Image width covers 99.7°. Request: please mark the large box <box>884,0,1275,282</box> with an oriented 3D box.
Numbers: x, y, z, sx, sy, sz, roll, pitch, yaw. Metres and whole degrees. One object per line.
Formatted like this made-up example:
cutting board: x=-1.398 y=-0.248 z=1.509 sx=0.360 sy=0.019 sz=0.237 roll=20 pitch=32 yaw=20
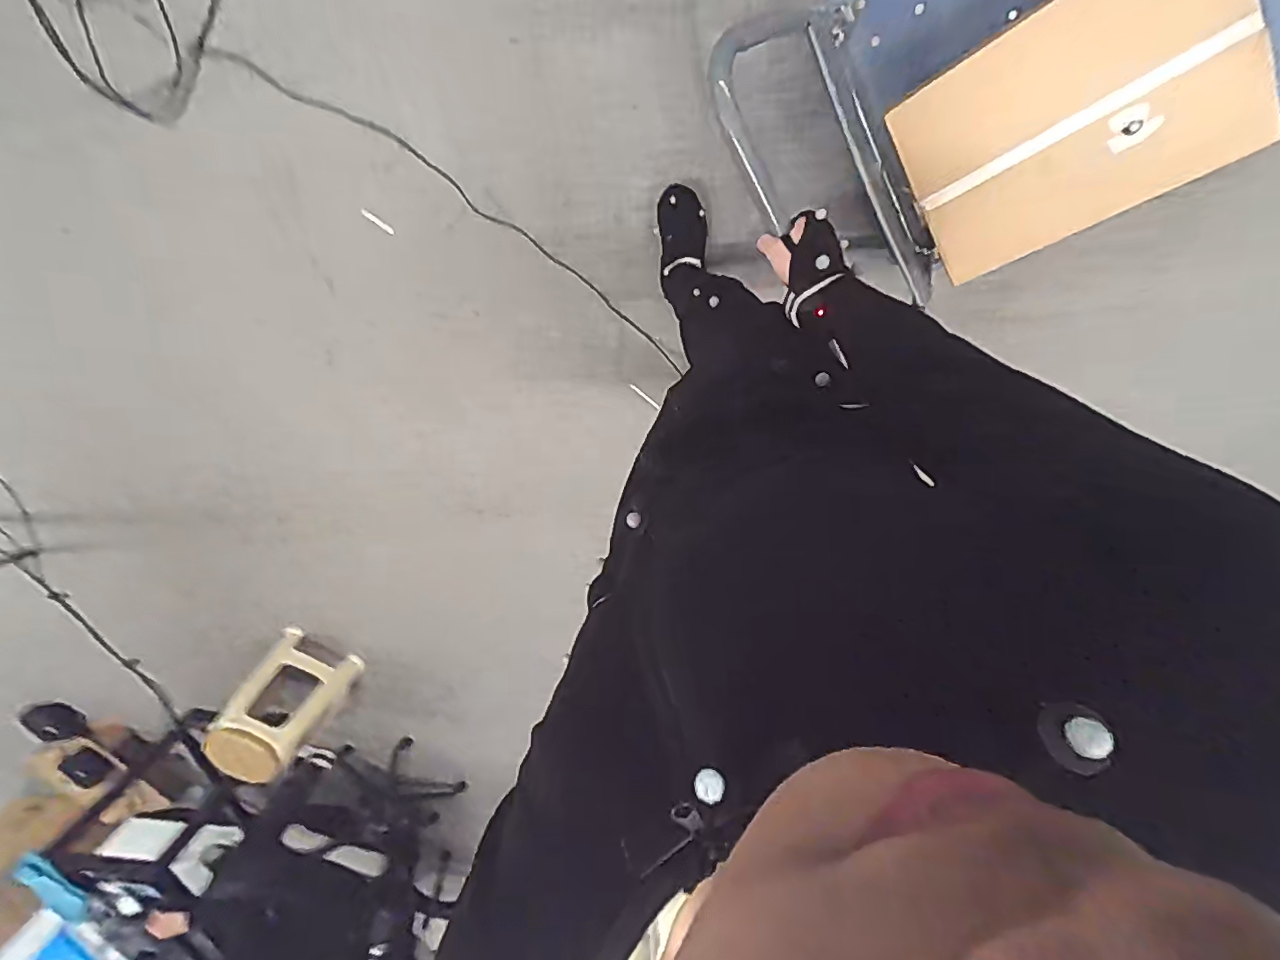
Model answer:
large box: x=0.674 y=-0.603 z=0.902 sx=0.408 sy=0.320 sz=0.320 roll=-20 pitch=114 yaw=36
